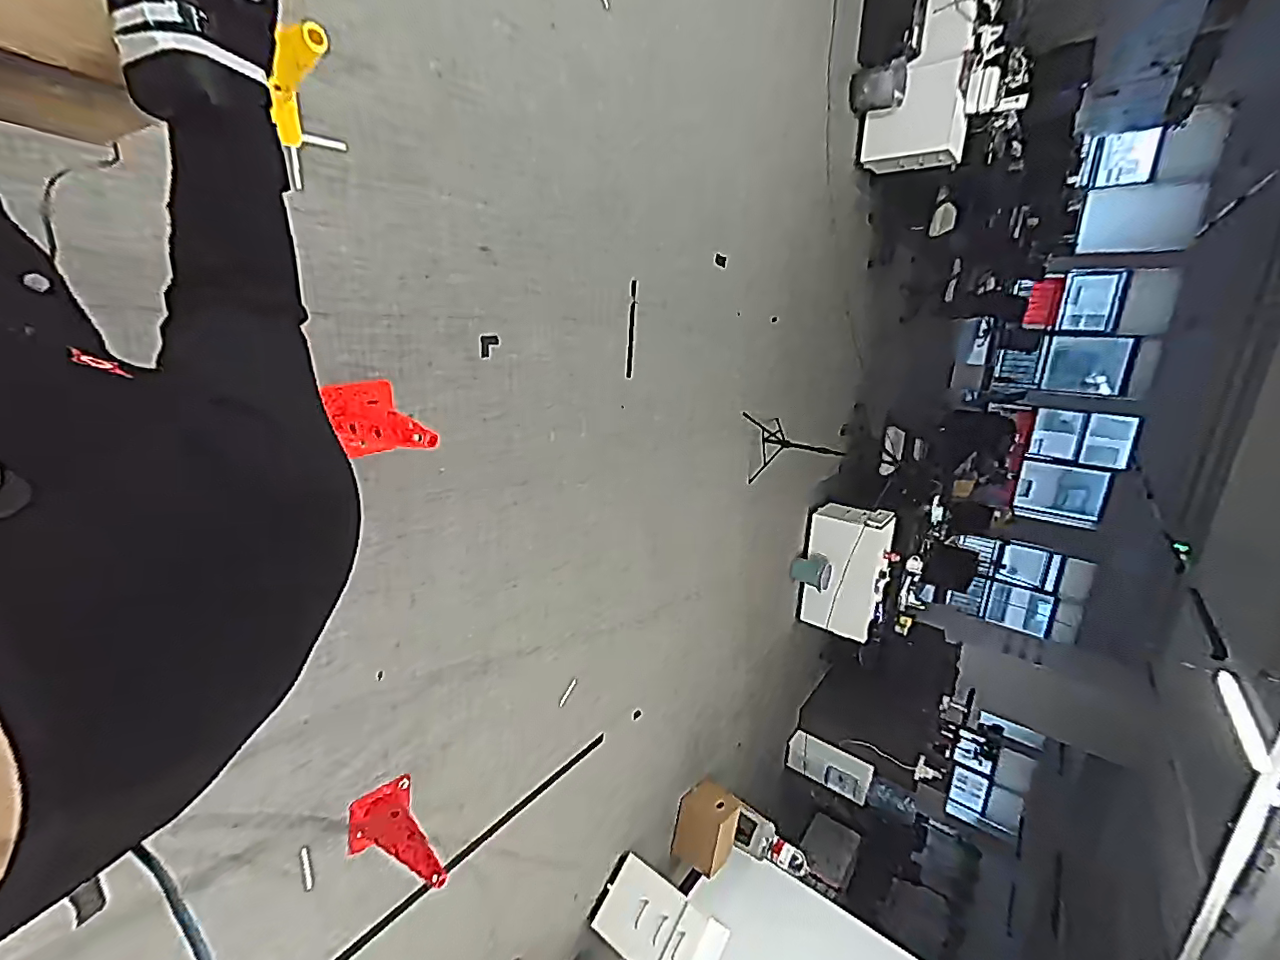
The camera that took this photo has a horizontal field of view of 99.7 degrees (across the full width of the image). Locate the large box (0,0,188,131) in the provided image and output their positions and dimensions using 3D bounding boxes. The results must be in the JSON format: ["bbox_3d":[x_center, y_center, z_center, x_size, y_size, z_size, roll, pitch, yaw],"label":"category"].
[{"bbox_3d":[-0.554,-0.442,0.289,0.408,0.320,0.320,-12,115,-52],"label":"large box"}]

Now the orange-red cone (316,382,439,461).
[{"bbox_3d":[-0.623,-0.128,1.358,0.198,0.360,0.199,-22,117,-49],"label":"orange-red cone"}]

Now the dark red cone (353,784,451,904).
[{"bbox_3d":[-0.698,1.138,1.646,0.201,0.394,0.202,-8,108,-51],"label":"dark red cone"}]
